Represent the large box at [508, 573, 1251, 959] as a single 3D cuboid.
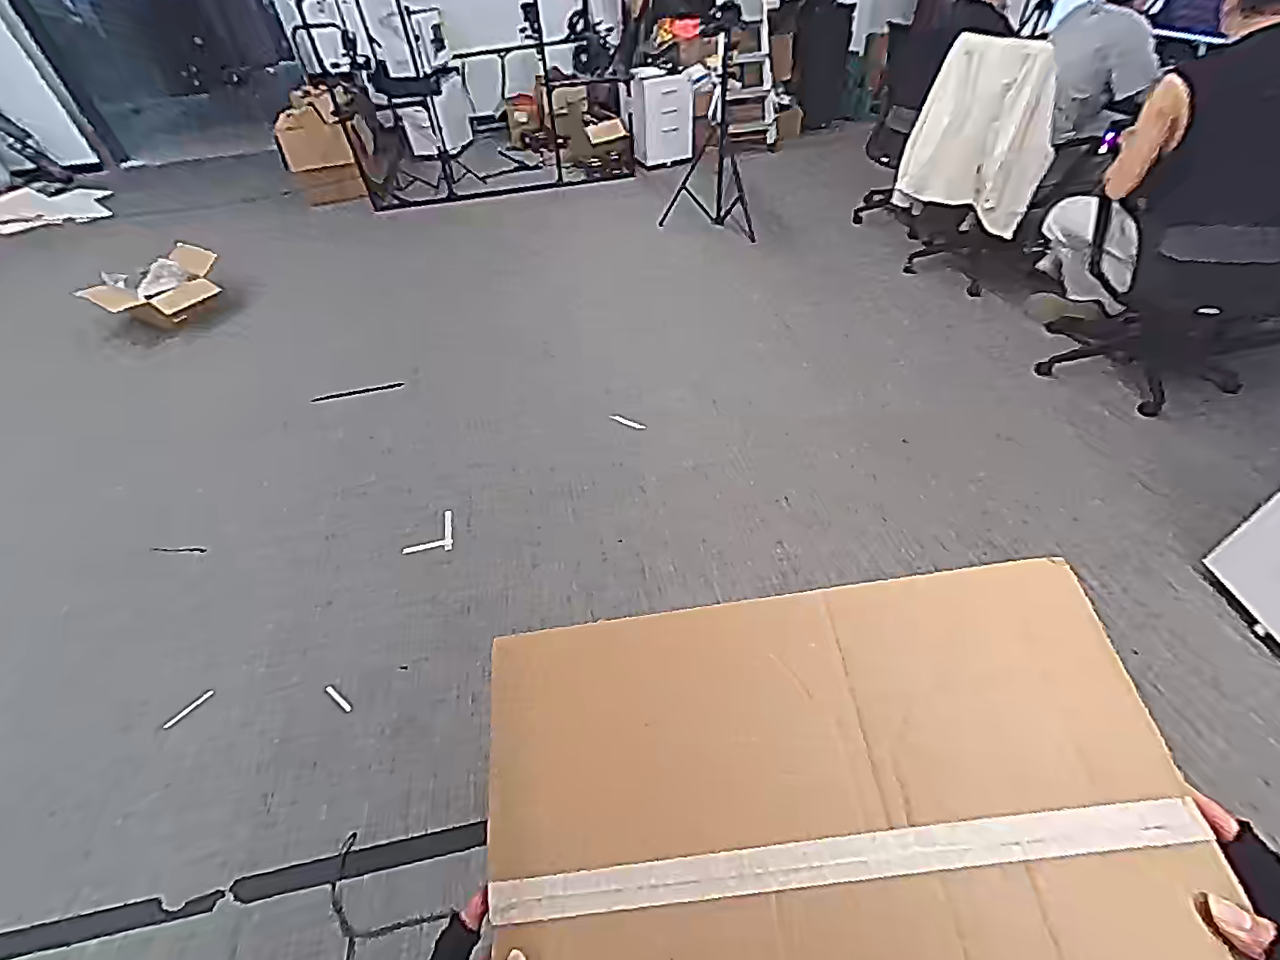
[{"bbox_3d":[0.133,0.303,0.449,0.408,0.320,0.320,-10,61,3],"label":"large box"}]
